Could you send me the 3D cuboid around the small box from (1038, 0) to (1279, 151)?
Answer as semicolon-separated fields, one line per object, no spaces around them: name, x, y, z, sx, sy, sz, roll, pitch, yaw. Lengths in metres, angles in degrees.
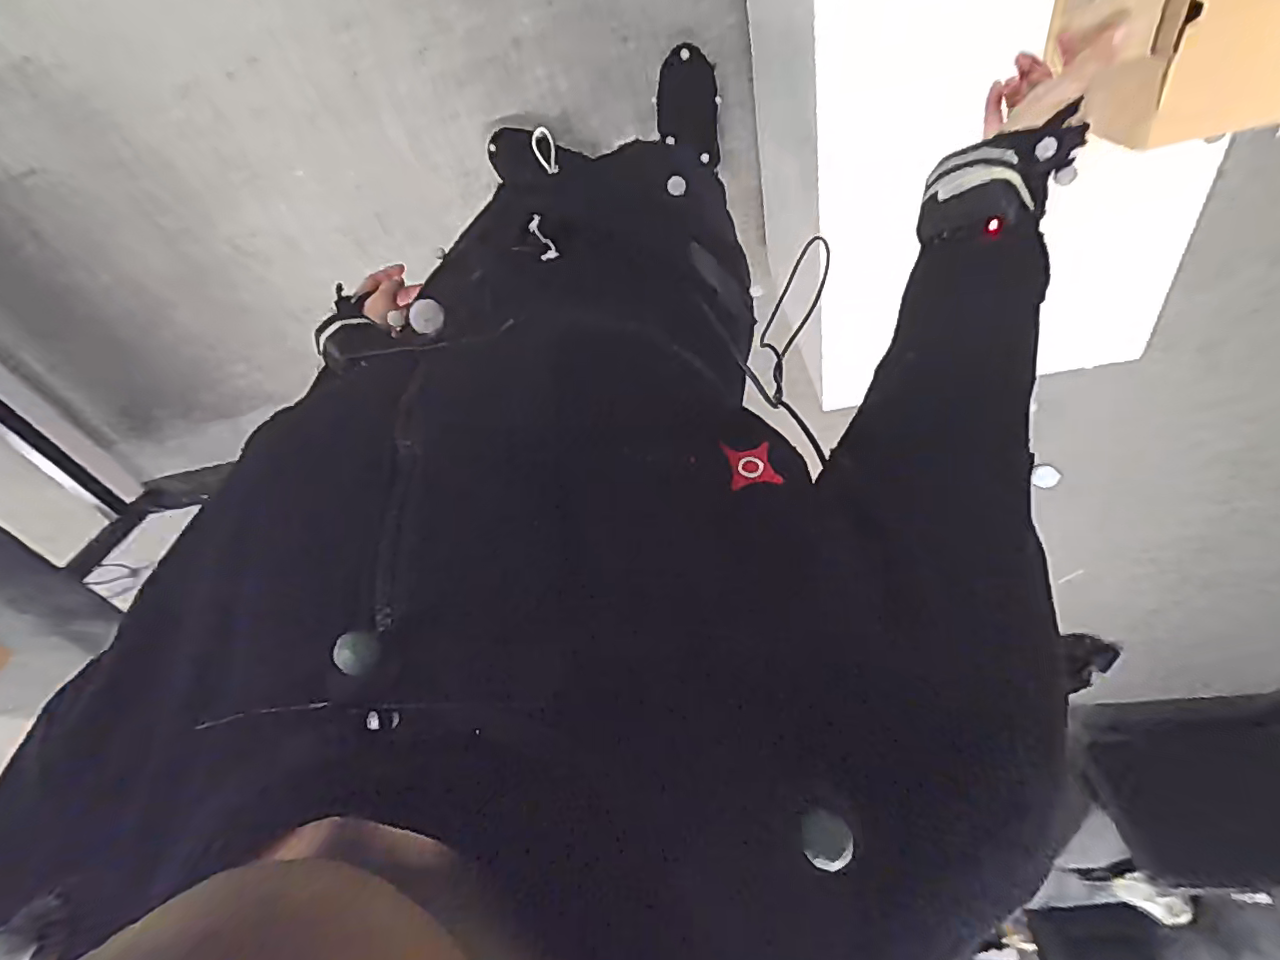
small box;0.448;-0.374;0.401;0.179;0.176;0.168;-8;132;11
